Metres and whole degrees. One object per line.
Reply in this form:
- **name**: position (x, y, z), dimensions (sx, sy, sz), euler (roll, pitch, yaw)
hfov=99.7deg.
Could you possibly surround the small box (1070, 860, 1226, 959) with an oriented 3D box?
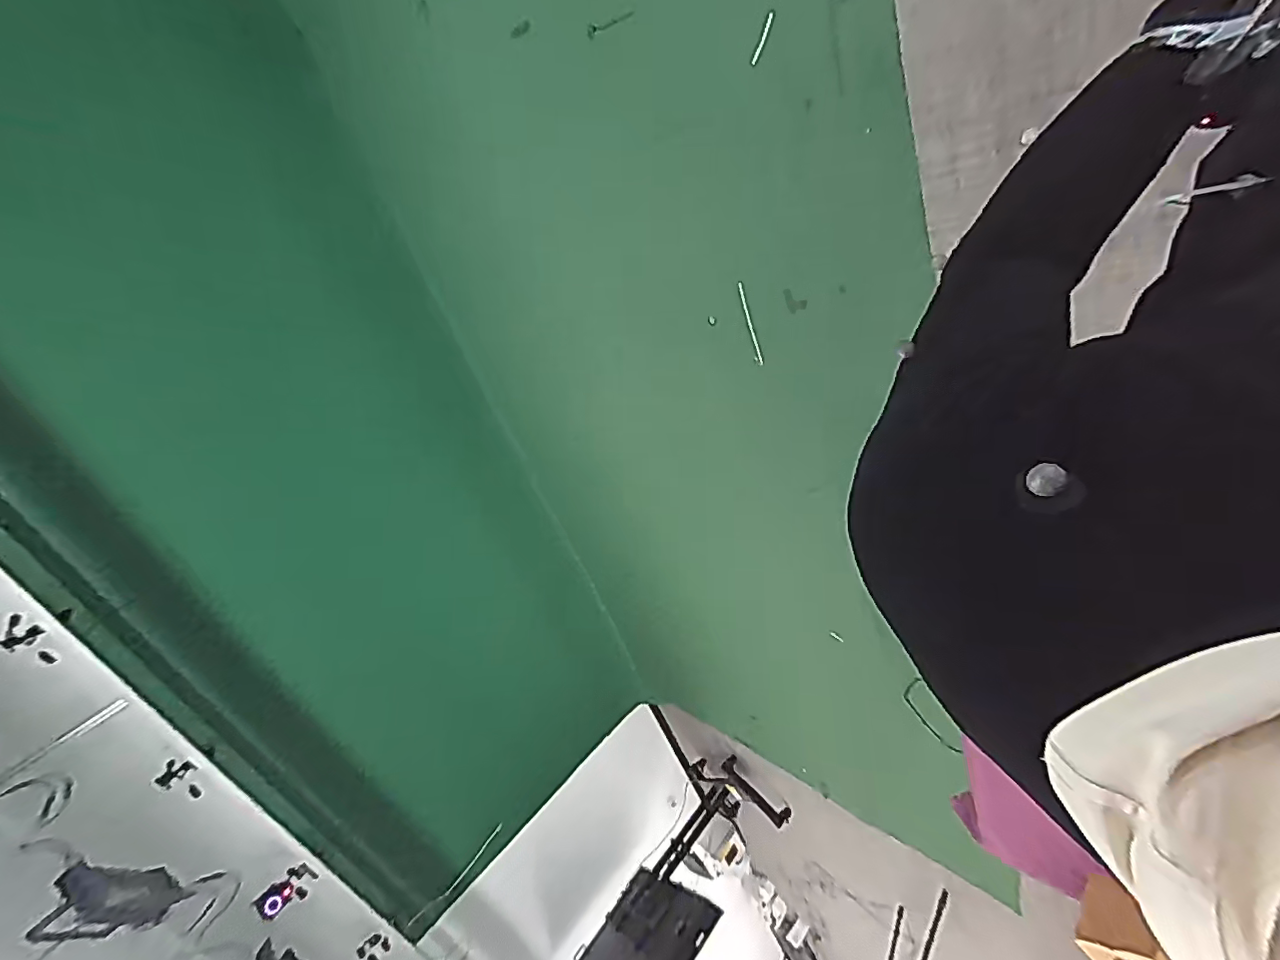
- **small box**: position (1.079, 0.956, 1.151), dimensions (0.179, 0.176, 0.168), euler (47, 149, 8)
